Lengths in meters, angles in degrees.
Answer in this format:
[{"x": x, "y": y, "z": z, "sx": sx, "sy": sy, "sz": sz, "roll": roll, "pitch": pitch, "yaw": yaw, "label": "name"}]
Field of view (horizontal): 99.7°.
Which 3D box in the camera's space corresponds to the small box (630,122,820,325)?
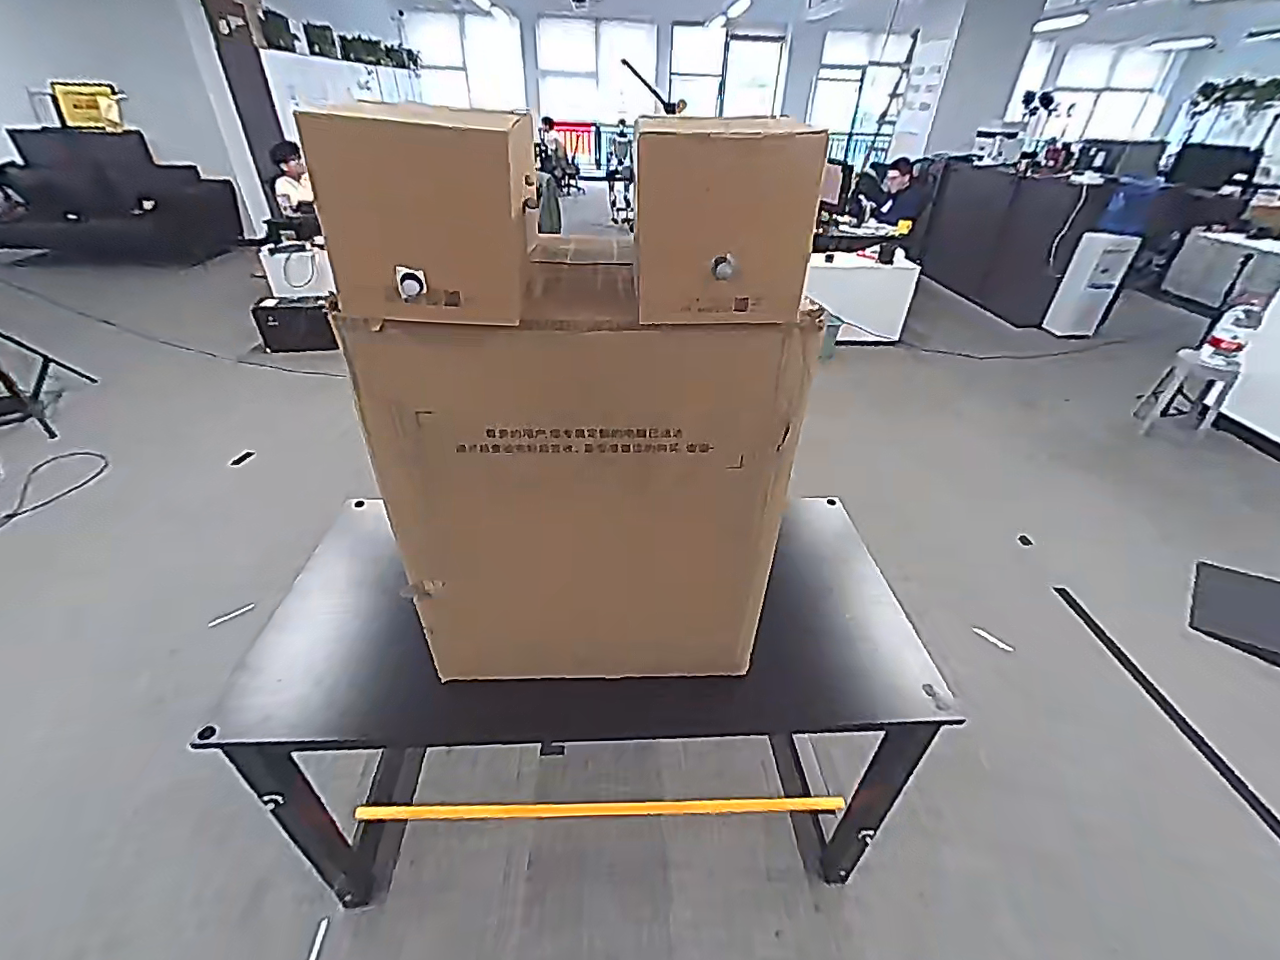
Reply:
[{"x": 0.073, "y": -0.277, "z": 0.579, "sx": 0.168, "sy": 0.176, "sz": 0.179, "roll": -2, "pitch": 37, "yaw": -1, "label": "small box"}]
